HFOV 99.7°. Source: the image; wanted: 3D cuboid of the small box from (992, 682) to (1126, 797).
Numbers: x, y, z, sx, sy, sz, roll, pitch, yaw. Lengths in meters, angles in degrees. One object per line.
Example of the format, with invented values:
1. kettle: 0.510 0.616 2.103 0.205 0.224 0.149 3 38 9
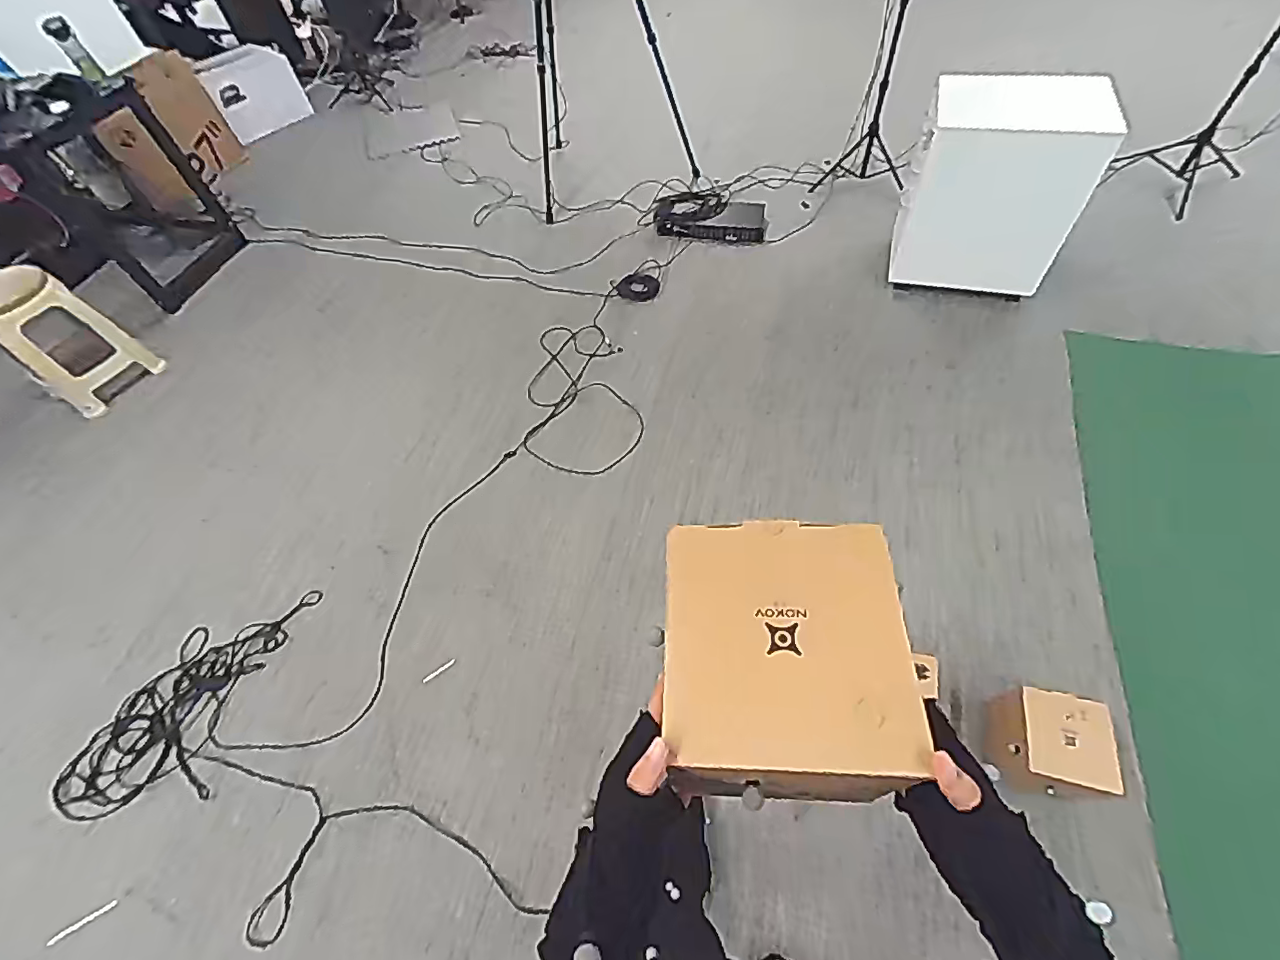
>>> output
1. small box: 0.886 0.563 1.164 0.168 0.176 0.179 11 58 13
